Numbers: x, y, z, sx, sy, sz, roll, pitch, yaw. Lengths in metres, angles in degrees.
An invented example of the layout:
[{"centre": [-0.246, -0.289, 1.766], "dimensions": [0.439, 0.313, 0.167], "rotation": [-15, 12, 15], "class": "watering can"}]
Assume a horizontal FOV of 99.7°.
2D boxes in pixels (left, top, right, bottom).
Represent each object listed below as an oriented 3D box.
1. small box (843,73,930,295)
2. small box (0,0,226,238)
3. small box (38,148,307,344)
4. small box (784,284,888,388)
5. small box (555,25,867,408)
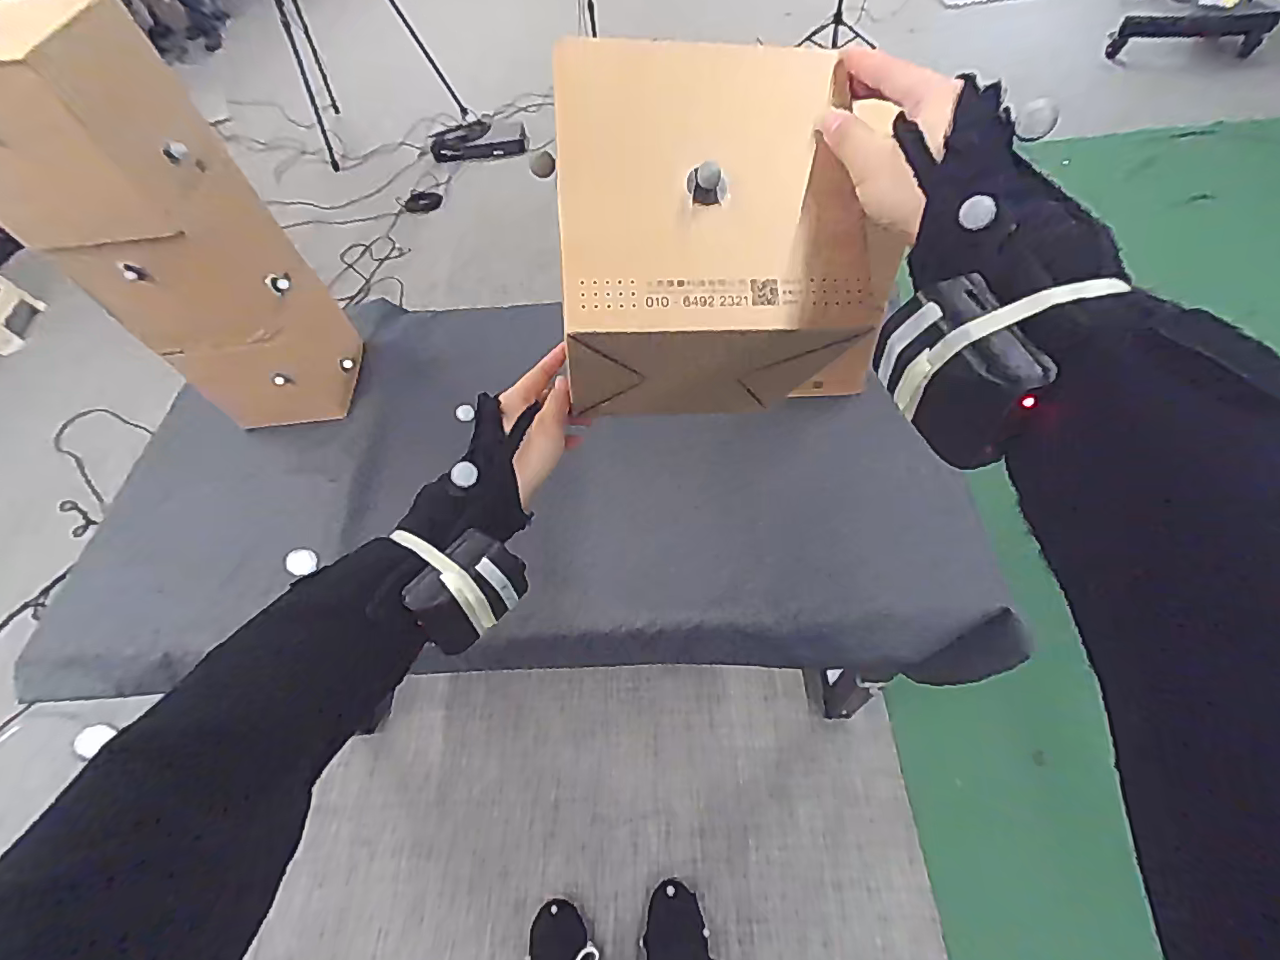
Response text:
[{"centre": [0.210, -0.332, 0.634], "dimensions": [0.168, 0.176, 0.179], "rotation": [-1, 60, 6], "class": "small box"}, {"centre": [-0.598, -0.376, 0.564], "dimensions": [0.179, 0.176, 0.168], "rotation": [-5, 59, 2], "class": "small box"}, {"centre": [-0.586, -0.298, 0.709], "dimensions": [0.179, 0.176, 0.168], "rotation": [-6, 59, 1], "class": "small box"}, {"centre": [0.232, -0.252, 0.774], "dimensions": [0.168, 0.176, 0.179], "rotation": [-2, 59, 6], "class": "small box"}, {"centre": [0.034, -0.153, 0.367], "dimensions": [0.168, 0.179, 0.176], "rotation": [-2, 84, -6], "class": "small box"}]
